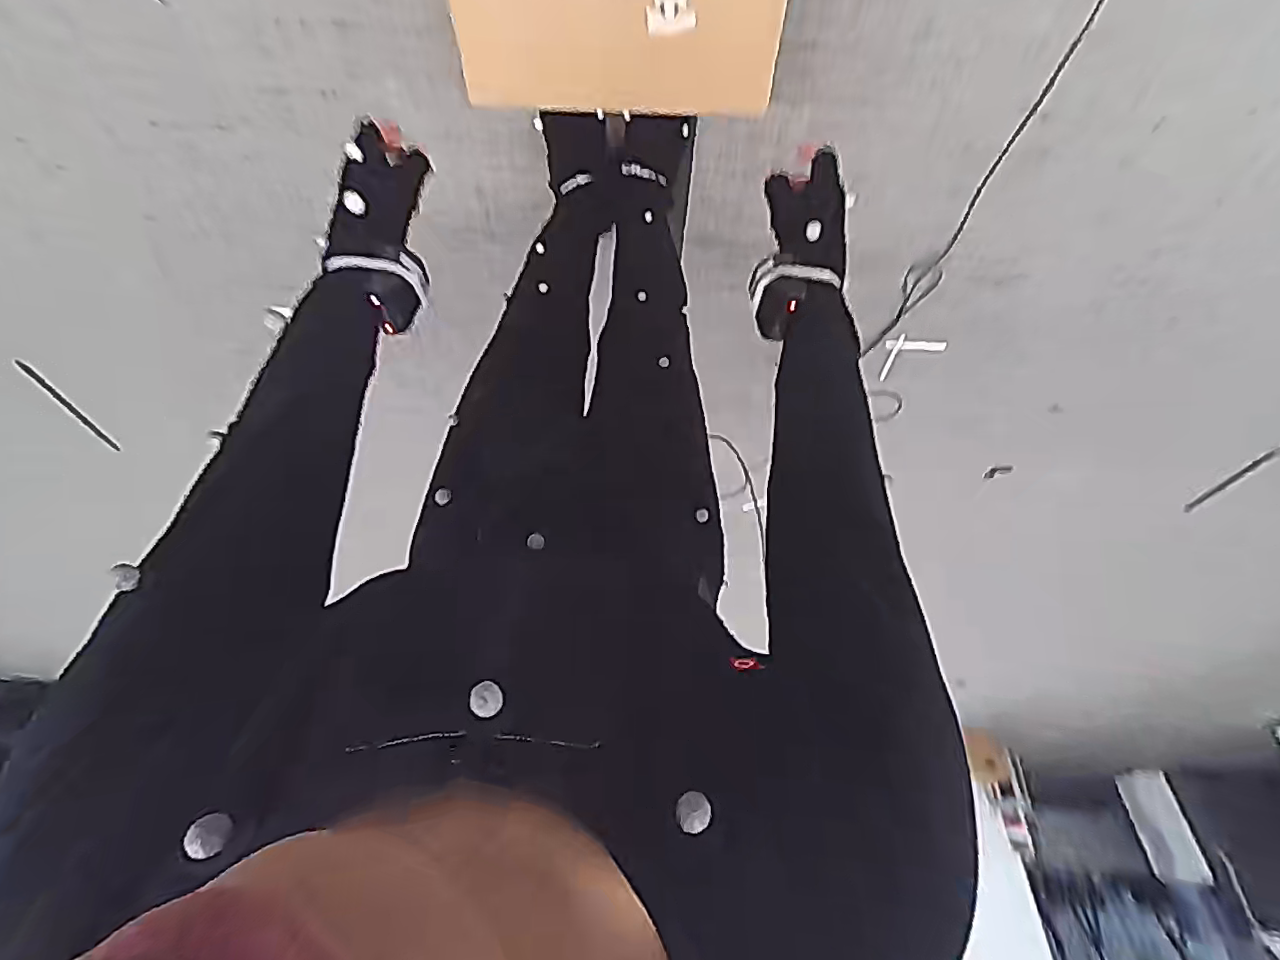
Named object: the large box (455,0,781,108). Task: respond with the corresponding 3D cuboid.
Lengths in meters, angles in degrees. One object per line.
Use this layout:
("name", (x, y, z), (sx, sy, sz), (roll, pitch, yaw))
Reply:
("large box", (-0.026, -0.723, 0.714), (0.408, 0.320, 0.320), (1, 142, 1))
